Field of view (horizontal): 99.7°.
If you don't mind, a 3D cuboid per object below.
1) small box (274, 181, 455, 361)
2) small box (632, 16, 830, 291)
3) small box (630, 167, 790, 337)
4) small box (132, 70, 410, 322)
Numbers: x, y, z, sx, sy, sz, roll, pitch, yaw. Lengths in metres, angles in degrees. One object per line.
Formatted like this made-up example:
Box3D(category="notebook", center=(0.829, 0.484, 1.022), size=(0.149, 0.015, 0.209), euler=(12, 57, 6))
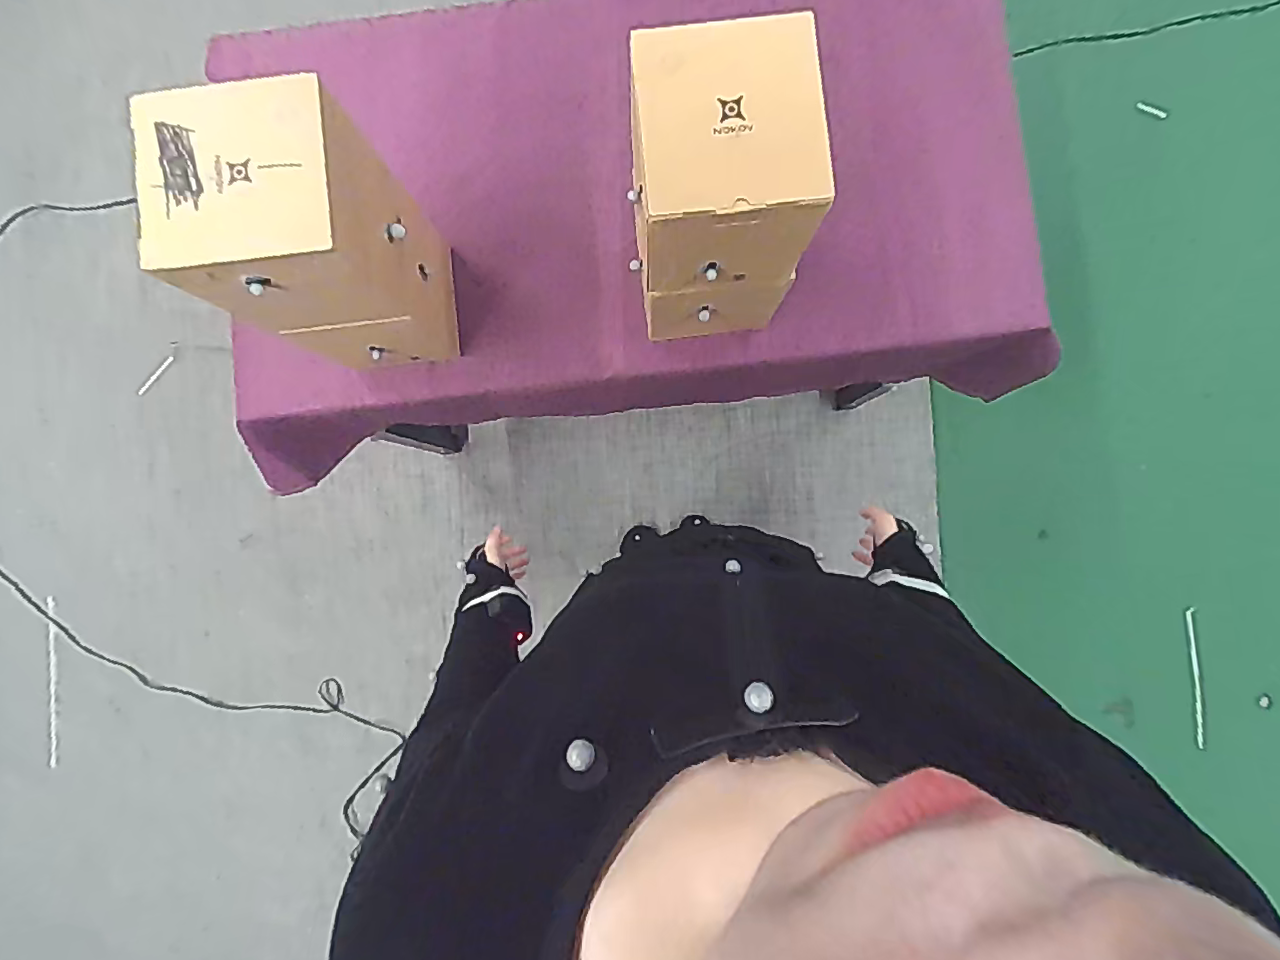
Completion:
Box3D(category="small box", center=(-0.360, -0.266, 0.726), size=(0.168, 0.176, 0.179), euler=(-5, 86, 0))
Box3D(category="small box", center=(0.079, -0.317, 0.556), size=(0.168, 0.176, 0.179), euler=(-5, 87, 1))
Box3D(category="small box", center=(0.086, -0.301, 0.719), size=(0.179, 0.176, 0.168), euler=(-7, 87, 2))
Box3D(category="small box", center=(-0.364, -0.275, 0.562), size=(0.179, 0.176, 0.168), euler=(-6, 87, 0))
